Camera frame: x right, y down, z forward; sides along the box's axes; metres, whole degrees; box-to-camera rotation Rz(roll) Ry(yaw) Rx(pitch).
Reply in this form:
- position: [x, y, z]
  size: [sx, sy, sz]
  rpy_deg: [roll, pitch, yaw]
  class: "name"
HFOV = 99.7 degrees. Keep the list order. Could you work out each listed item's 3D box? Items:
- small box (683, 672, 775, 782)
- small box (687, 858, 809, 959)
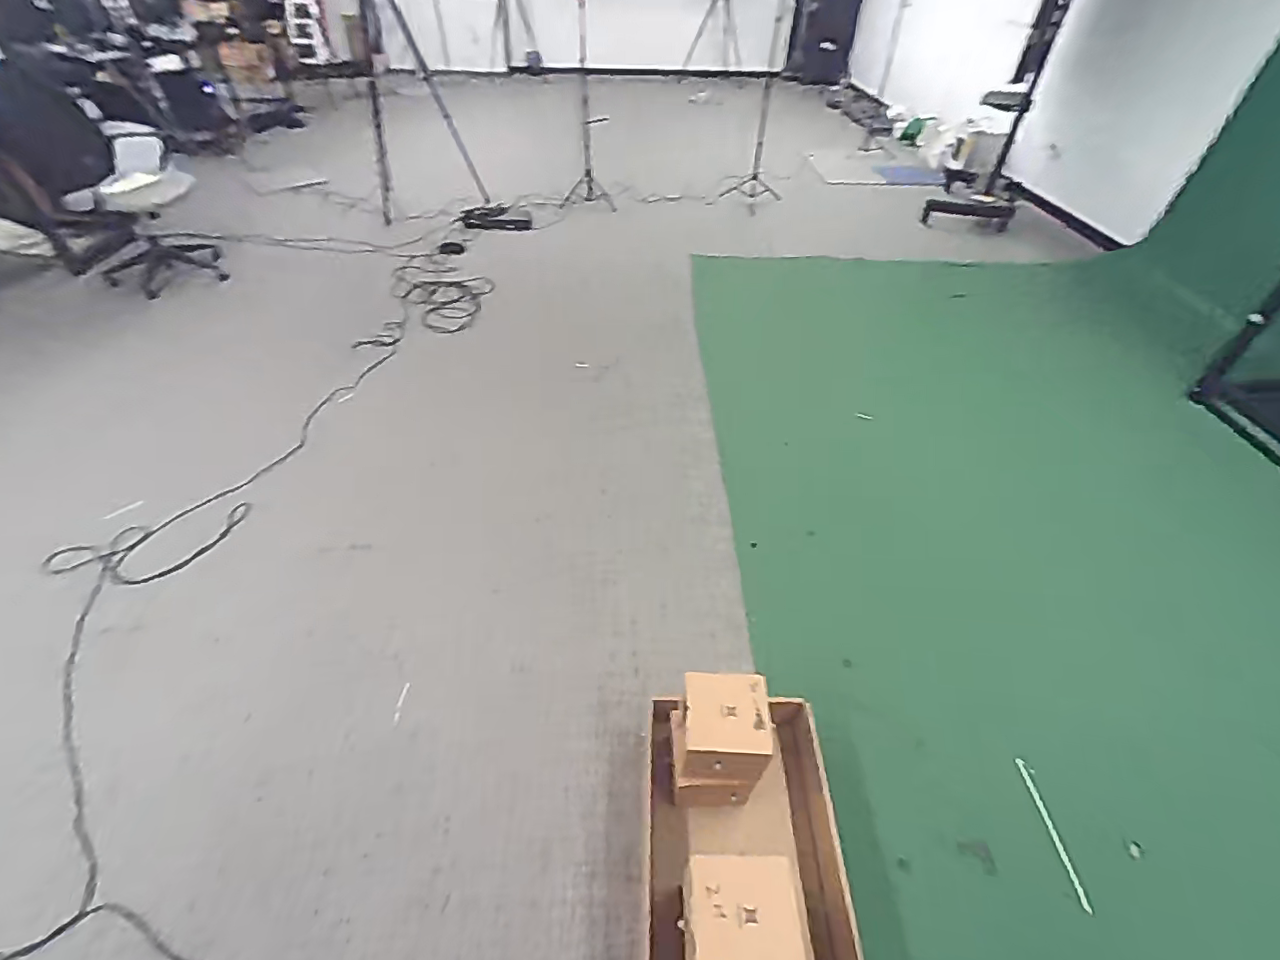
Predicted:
- position: [0.181, 0.531, 1.159]
  size: [0.179, 0.176, 0.168]
  rpy_deg: [2, 45, 2]
  class: "small box"
- position: [0.176, 0.764, 0.924]
  size: [0.179, 0.176, 0.168]
  rpy_deg: [0, 44, 1]
  class: "small box"
